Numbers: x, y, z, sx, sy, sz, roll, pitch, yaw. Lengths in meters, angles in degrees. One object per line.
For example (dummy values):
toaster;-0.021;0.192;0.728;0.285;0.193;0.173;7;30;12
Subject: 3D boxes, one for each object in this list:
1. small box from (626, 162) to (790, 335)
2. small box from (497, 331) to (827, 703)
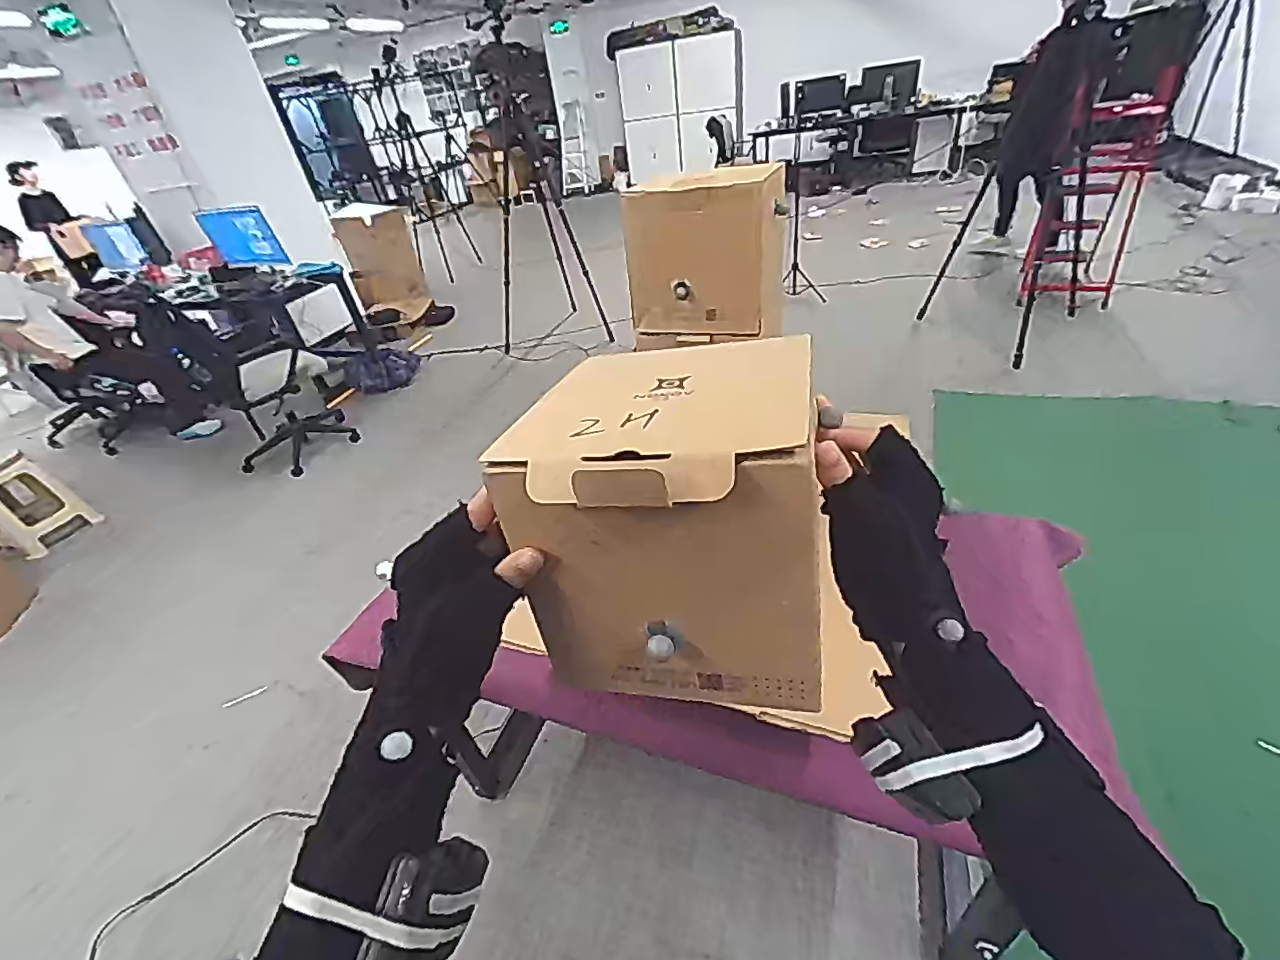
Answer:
small box;0.094;-0.301;0.699;0.168;0.176;0.179;7;37;20
small box;0.036;0.014;0.361;0.168;0.176;0.179;-1;32;18
